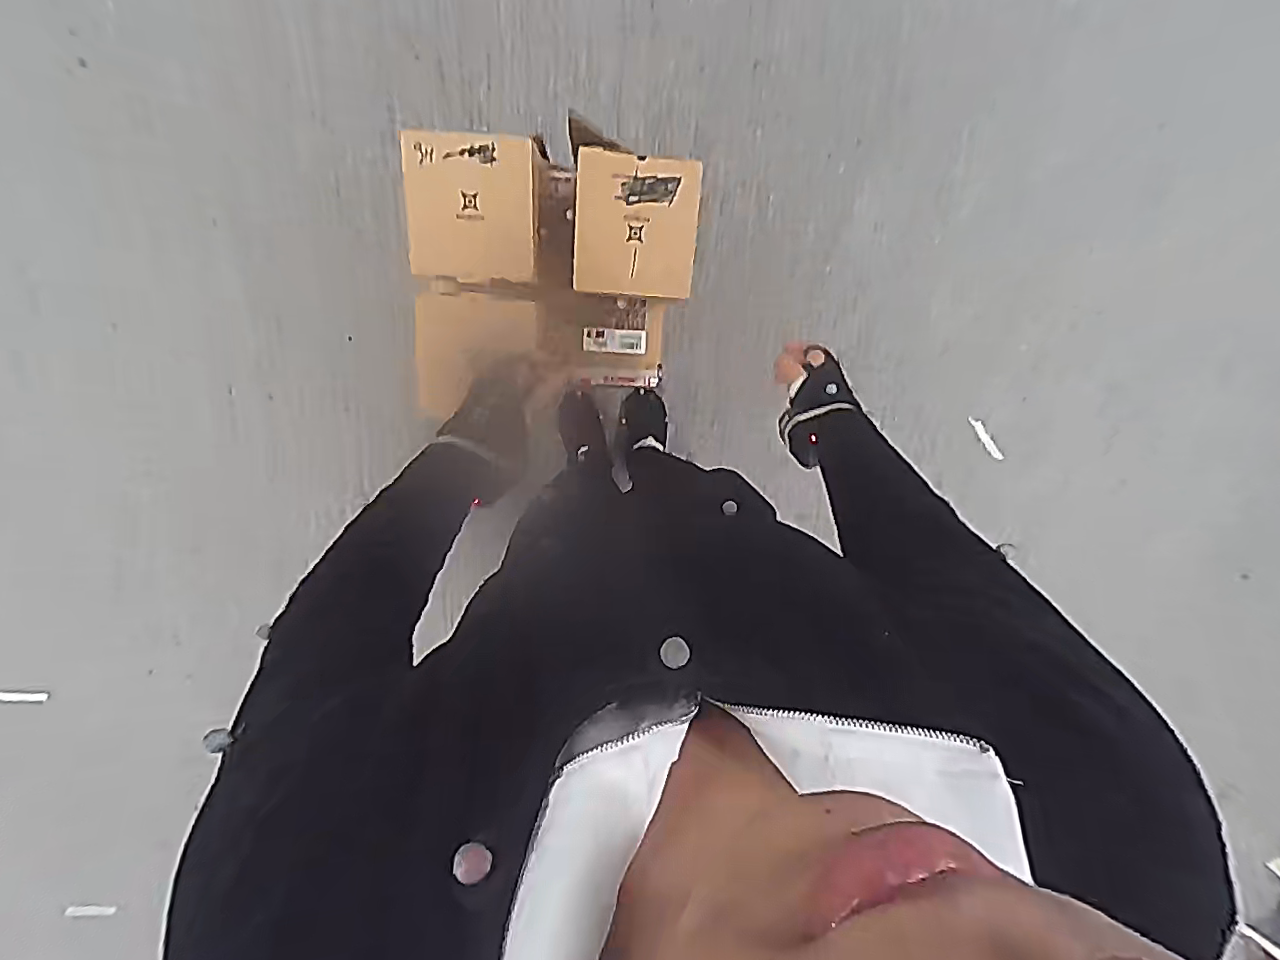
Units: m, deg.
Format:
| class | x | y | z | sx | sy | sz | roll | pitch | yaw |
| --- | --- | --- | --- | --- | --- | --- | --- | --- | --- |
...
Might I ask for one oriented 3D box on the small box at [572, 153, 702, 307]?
| class | x | y | z | sx | sy | sz | roll | pitch | yaw |
| --- | --- | --- | --- | --- | --- | --- | --- | --- | --- |
| small box | -0.013 | -0.357 | 0.804 | 0.168 | 0.176 | 0.179 | 3 | 107 | -6 |
